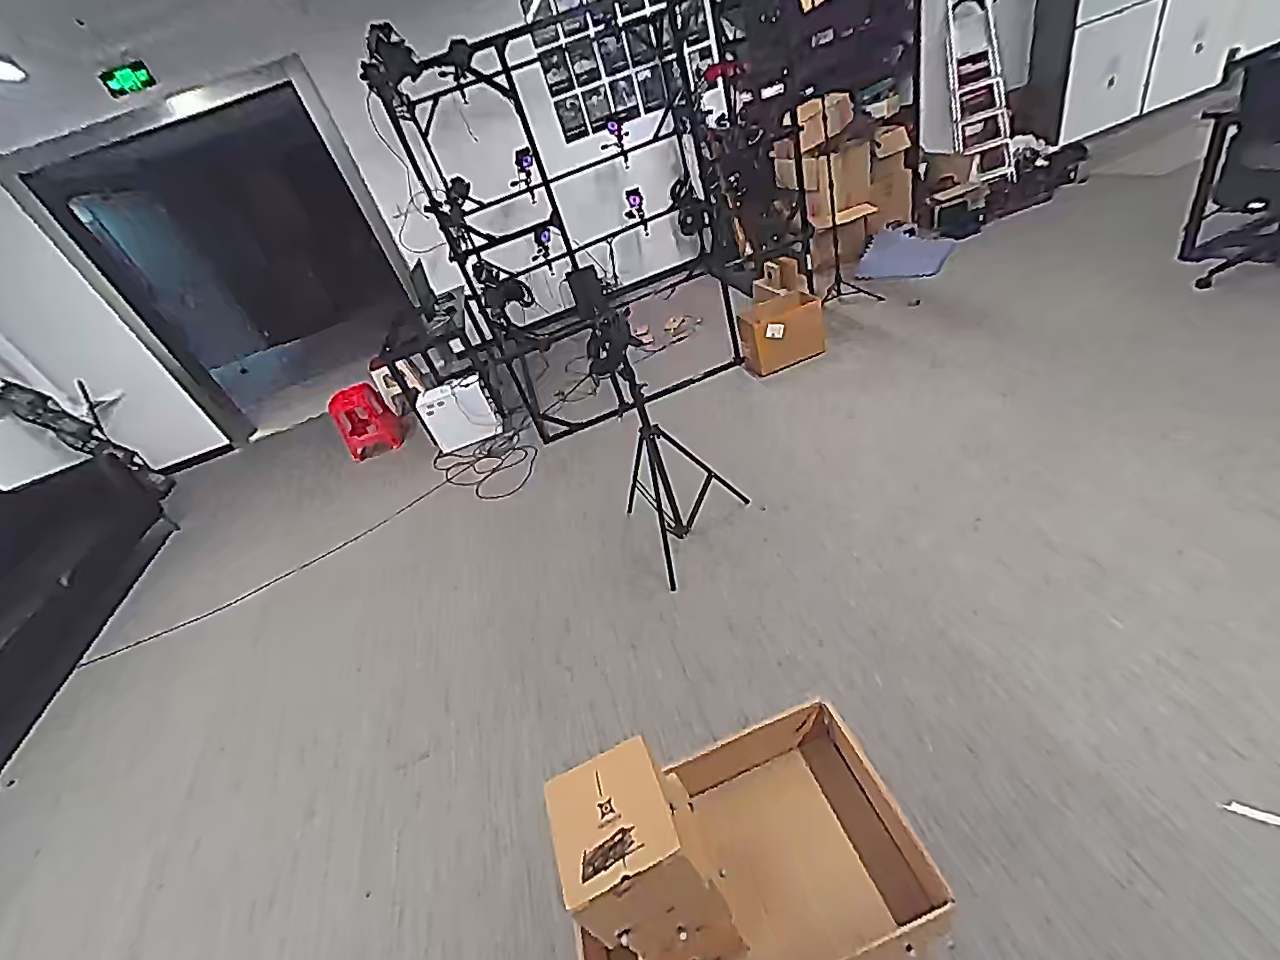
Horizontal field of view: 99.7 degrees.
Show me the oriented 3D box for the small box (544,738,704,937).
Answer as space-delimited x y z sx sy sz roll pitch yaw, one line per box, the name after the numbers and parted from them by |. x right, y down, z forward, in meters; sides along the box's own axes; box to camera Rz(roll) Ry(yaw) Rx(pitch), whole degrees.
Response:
-0.022 0.533 0.802 0.168 0.176 0.179 -25 35 -7 | small box

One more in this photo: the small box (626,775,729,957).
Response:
0.032 0.647 0.910 0.168 0.176 0.179 -23 36 -4 | small box

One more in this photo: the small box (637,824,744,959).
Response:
0.074 0.777 1.002 0.168 0.176 0.179 -23 35 -4 | small box
